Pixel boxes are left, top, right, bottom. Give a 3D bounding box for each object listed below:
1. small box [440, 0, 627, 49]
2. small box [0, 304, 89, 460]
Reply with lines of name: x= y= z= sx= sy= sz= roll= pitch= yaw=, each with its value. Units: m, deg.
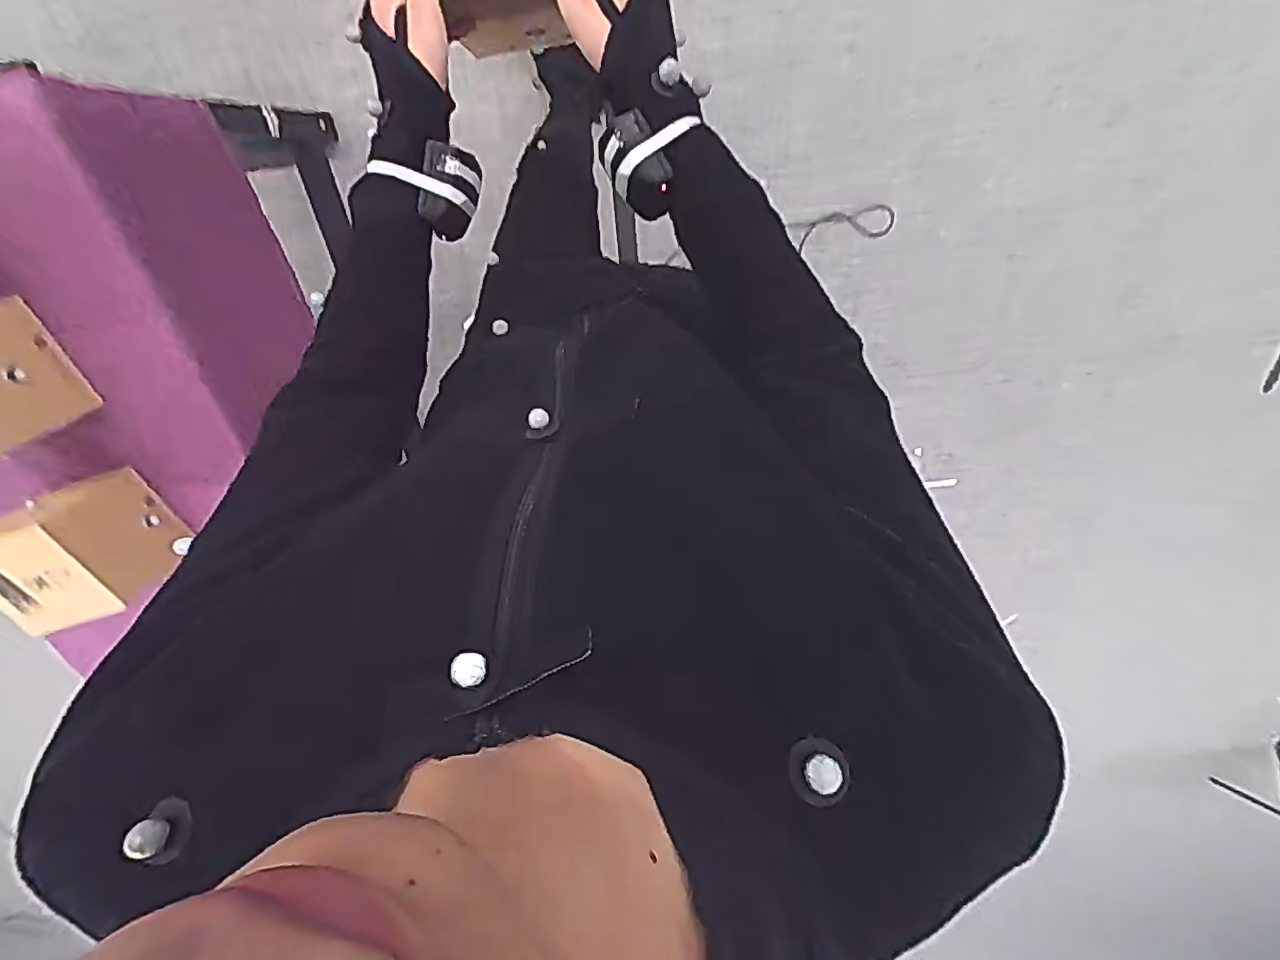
small box: x=-0.106 y=-0.499 z=0.447 sx=0.168 sy=0.176 sz=0.179 roll=-5 pitch=114 yaw=6
small box: x=-0.908 y=-0.121 z=0.718 sx=0.179 sy=0.176 sz=0.168 roll=-10 pitch=121 yaw=6
